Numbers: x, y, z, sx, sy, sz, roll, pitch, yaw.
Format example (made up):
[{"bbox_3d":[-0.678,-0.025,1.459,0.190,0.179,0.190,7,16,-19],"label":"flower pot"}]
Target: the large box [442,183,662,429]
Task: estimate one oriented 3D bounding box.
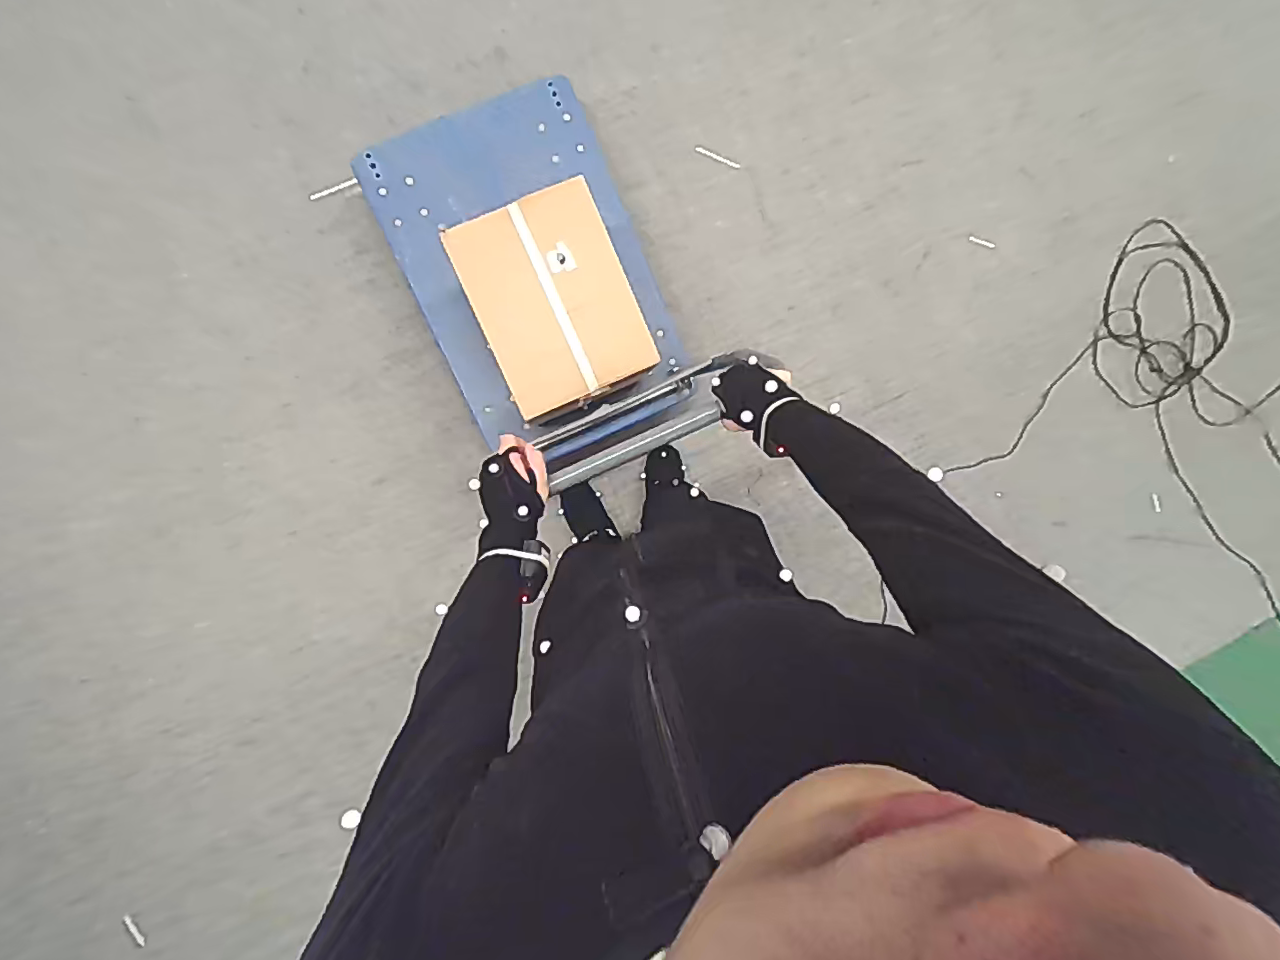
[{"bbox_3d":[-0.186,-0.364,1.241,0.320,0.320,0.408,-25,95,-5],"label":"large box"}]
